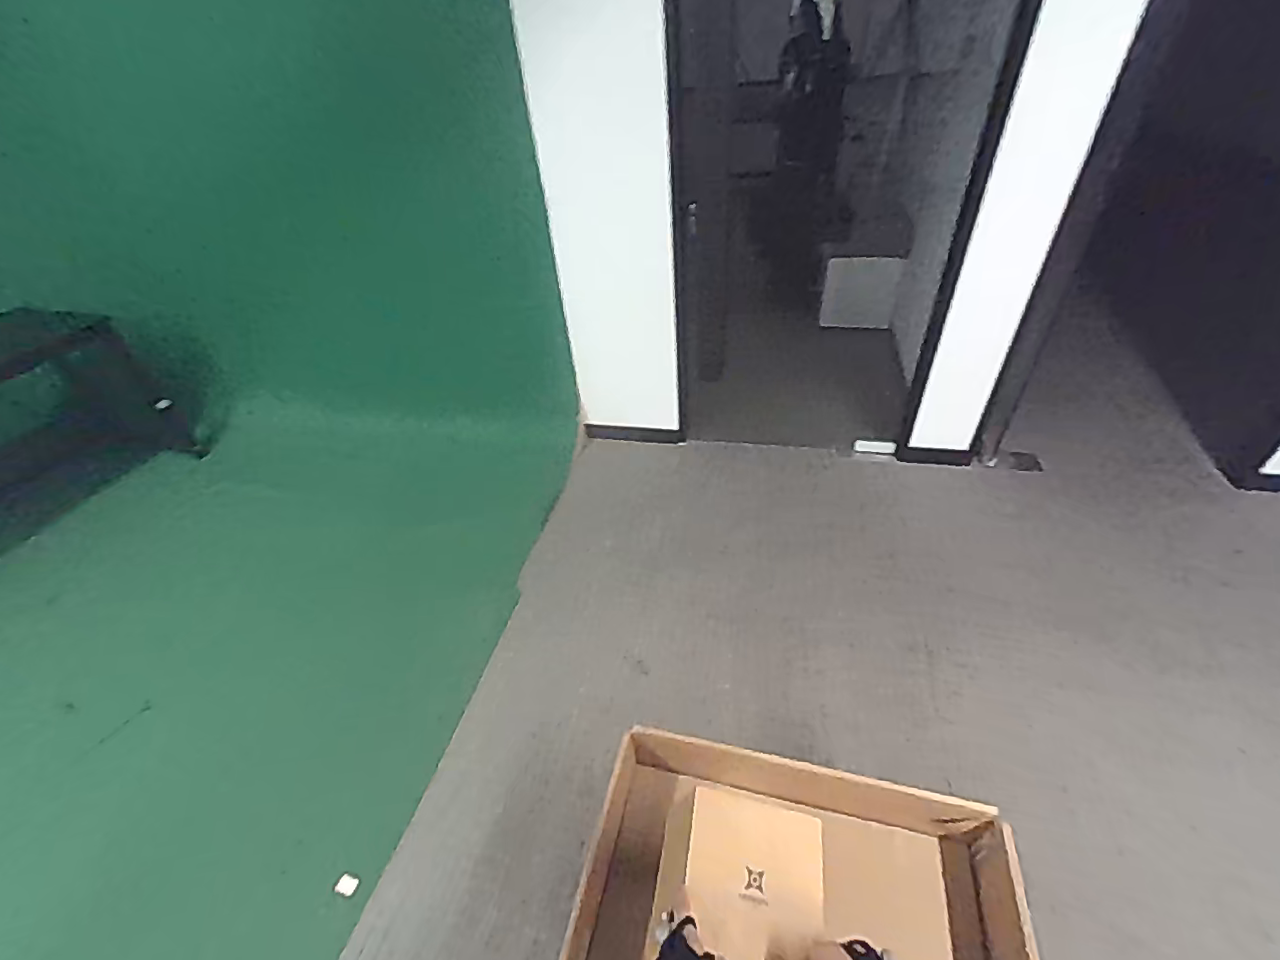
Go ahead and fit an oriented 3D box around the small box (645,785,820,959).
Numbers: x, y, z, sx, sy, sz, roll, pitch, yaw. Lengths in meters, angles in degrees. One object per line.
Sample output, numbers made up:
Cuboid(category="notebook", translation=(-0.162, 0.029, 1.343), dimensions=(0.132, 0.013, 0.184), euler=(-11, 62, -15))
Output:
Cuboid(category="small box", translation=(0.111, 0.511, 0.674), dimensions=(0.168, 0.176, 0.179), euler=(15, 50, 0))
